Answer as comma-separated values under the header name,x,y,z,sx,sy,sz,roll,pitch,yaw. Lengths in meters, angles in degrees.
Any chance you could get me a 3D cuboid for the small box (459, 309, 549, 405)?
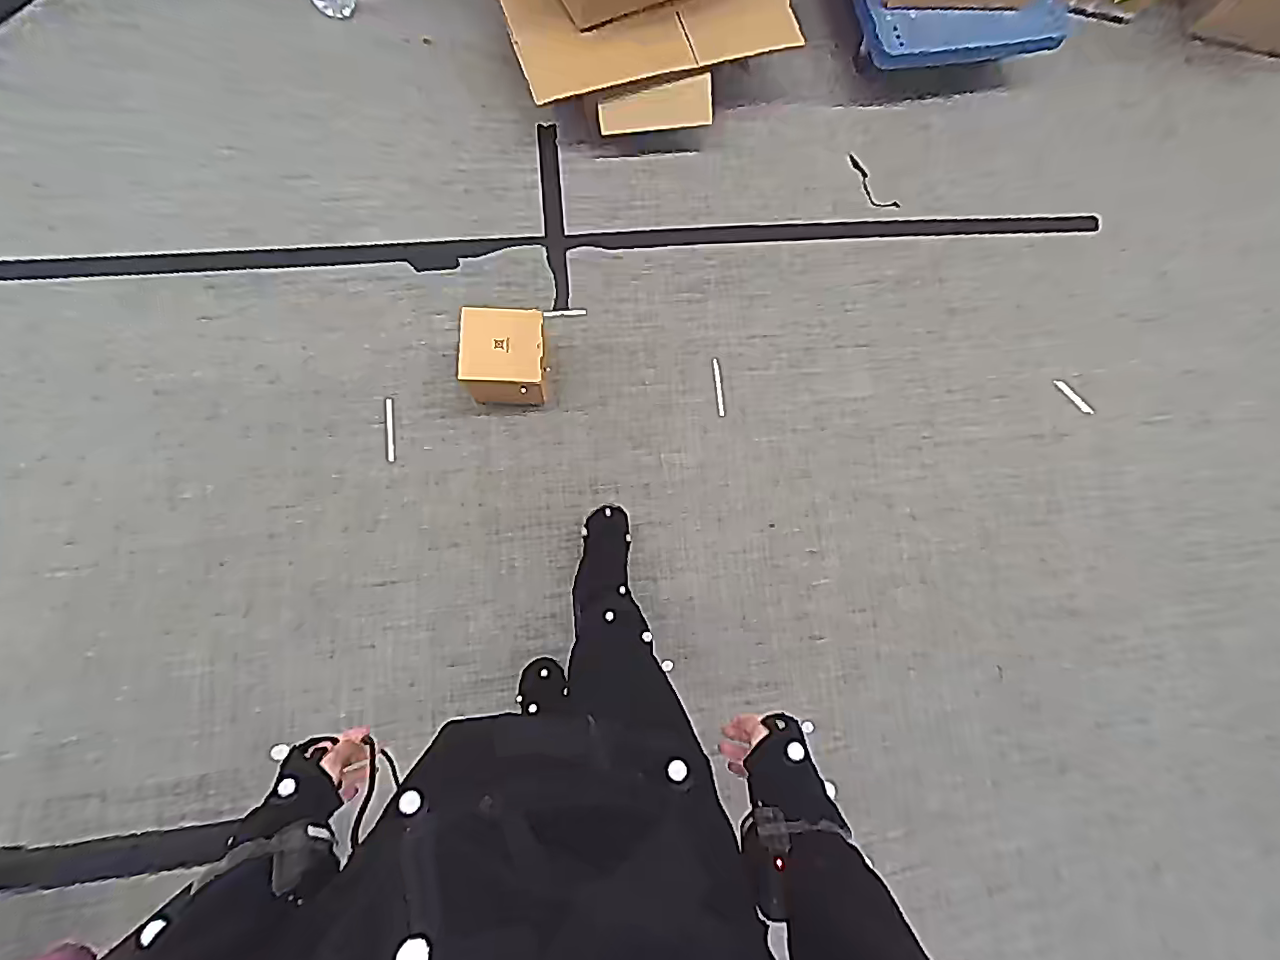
name,x,y,z,sx,sy,sz,roll,pitch,yaw
small box,-0.303,-0.273,1.232,0.179,0.176,0.168,1,81,-7
